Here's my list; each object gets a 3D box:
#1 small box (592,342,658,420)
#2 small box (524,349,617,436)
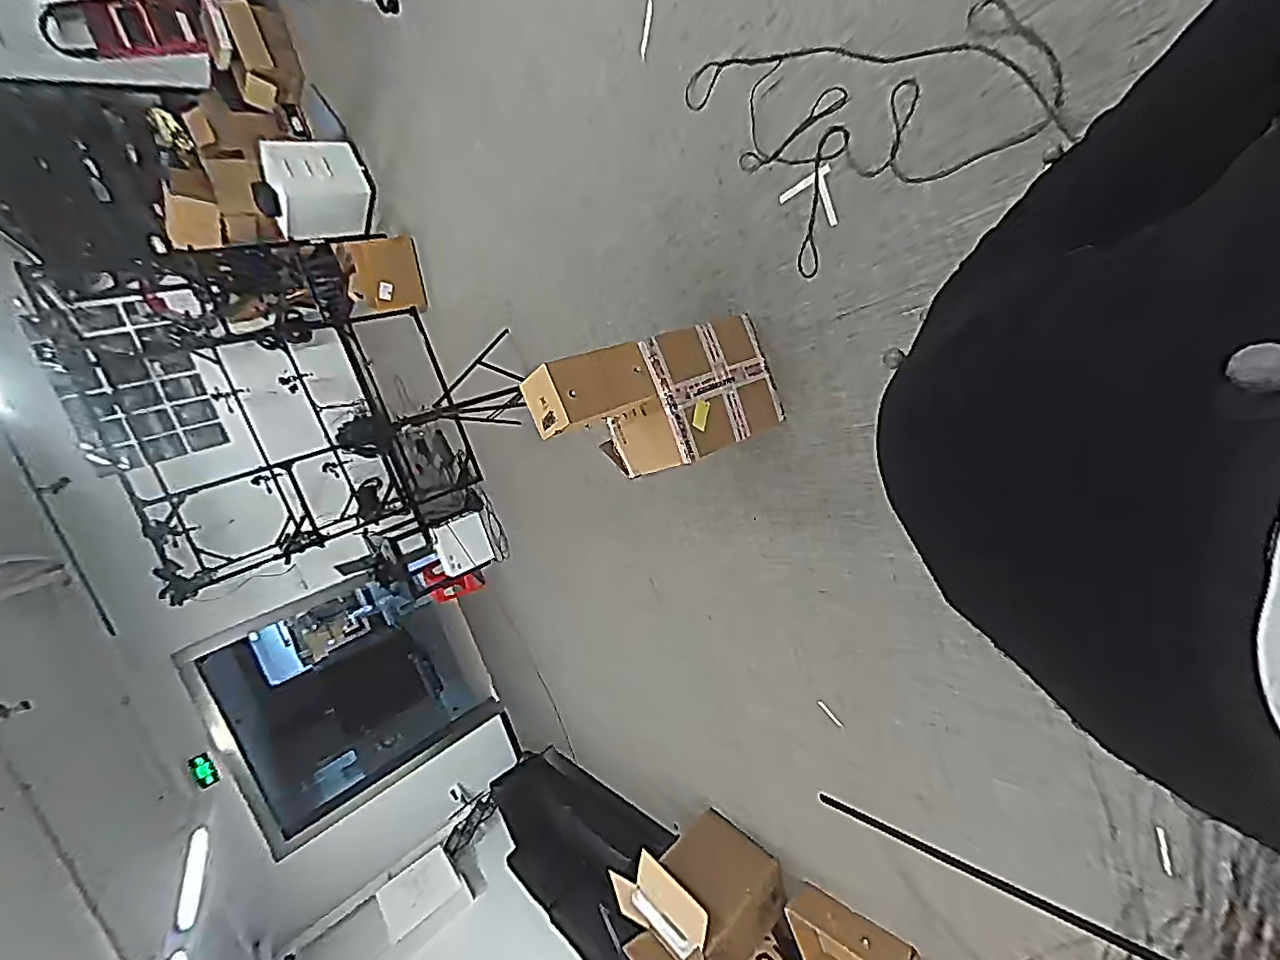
[{"bbox_3d":[-0.076,-0.301,1.619,0.168,0.176,0.179,-21,93,52],"label":"small box"},{"bbox_3d":[-0.191,-0.246,1.513,0.168,0.176,0.179,-21,93,52],"label":"small box"}]
